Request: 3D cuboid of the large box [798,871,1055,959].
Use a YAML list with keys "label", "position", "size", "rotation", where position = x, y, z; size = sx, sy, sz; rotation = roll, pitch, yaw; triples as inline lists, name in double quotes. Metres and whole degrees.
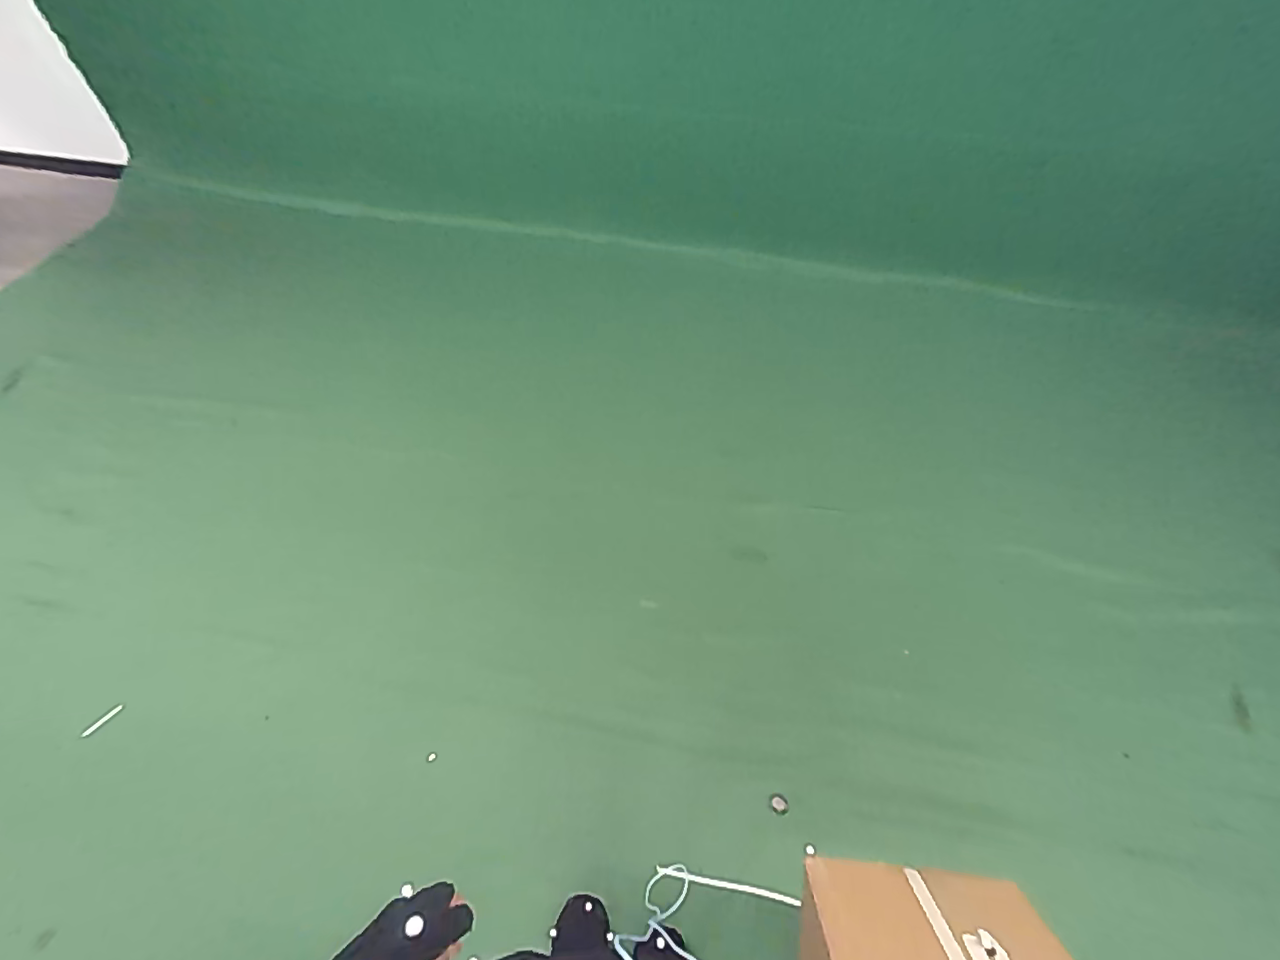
- label: "large box"
  position: [0.378, 0.772, 0.636]
  size: [0.320, 0.408, 0.320]
  rotation: [5, 92, 5]
